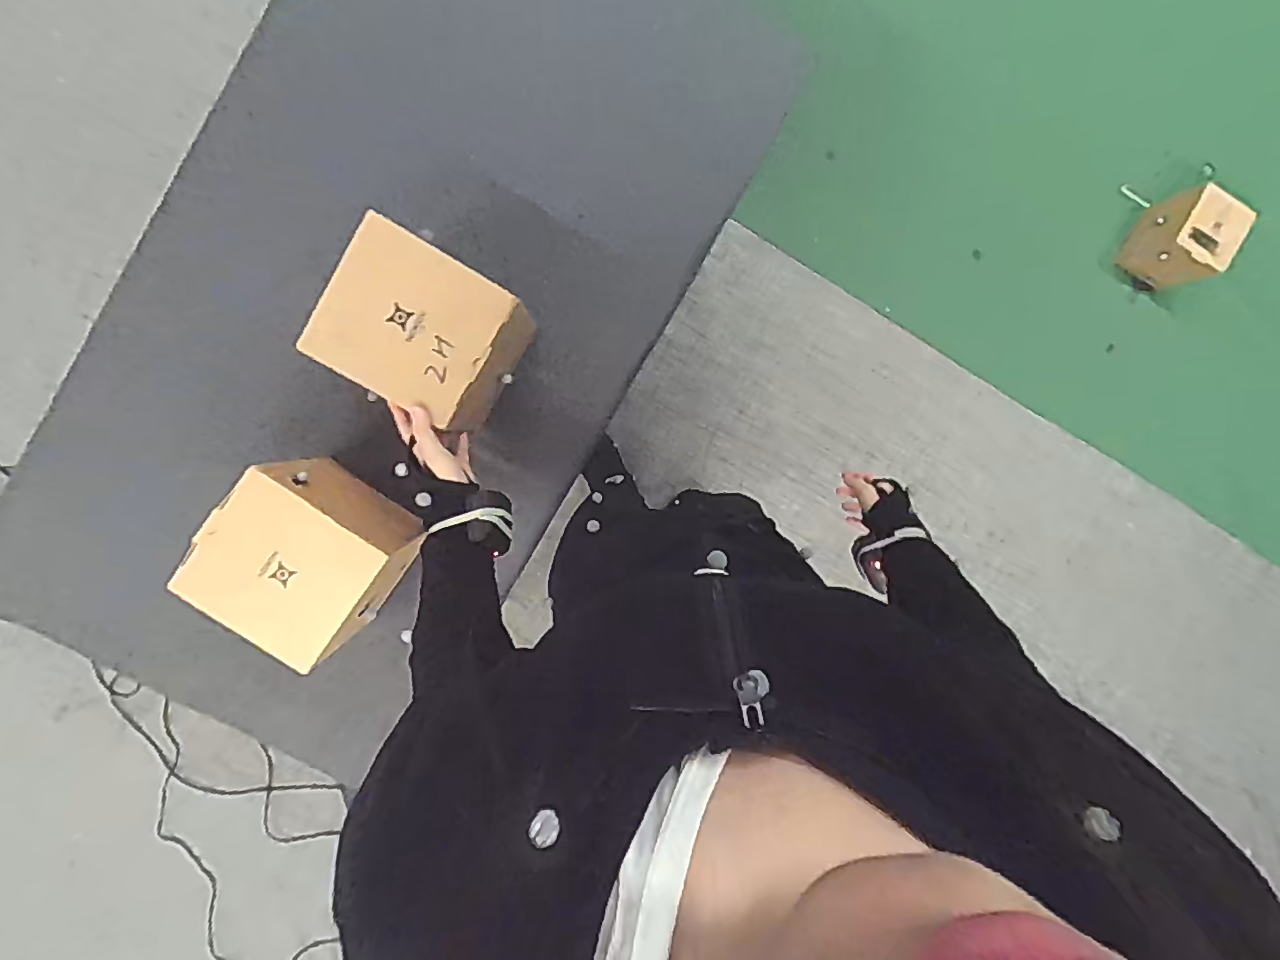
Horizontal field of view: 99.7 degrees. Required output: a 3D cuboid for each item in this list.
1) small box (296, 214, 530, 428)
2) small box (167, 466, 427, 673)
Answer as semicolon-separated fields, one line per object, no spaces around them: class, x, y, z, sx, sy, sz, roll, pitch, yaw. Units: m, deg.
small box;-0.253;-0.172;0.651;0.179;0.176;0.168;30;93;-7
small box;-0.397;0.093;0.664;0.179;0.176;0.168;35;92;-5
